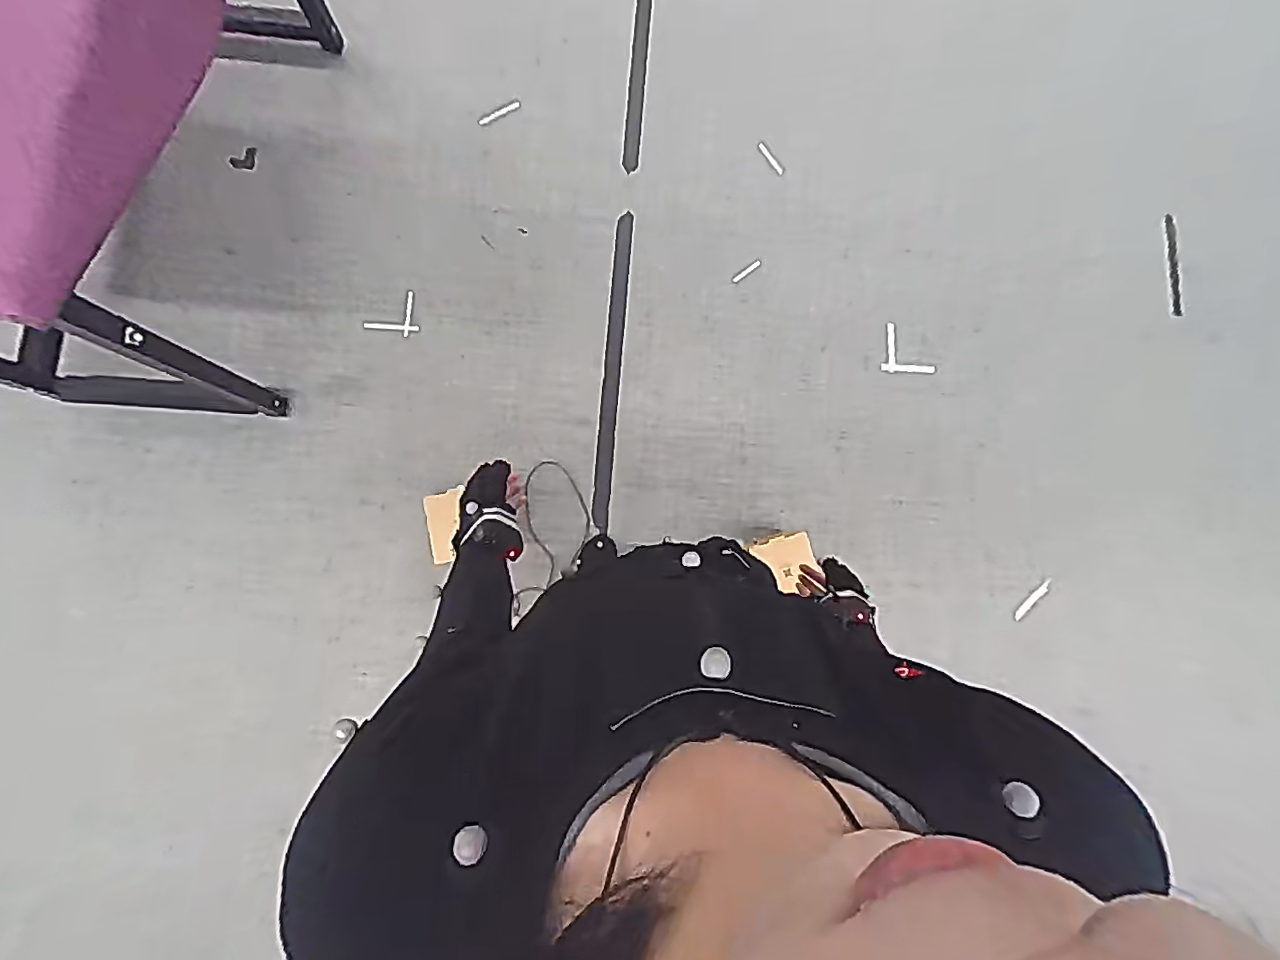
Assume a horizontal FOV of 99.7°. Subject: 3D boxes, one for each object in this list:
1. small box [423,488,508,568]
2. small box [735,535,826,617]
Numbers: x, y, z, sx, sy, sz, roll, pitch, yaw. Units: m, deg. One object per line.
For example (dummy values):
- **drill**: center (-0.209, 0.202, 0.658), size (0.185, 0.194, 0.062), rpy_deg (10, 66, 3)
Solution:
- **small box**: center (-0.450, 0.130, 1.414), size (0.168, 0.176, 0.179), rpy_deg (-12, 83, -7)
- **small box**: center (0.373, 0.257, 1.473), size (0.168, 0.176, 0.179), rpy_deg (-16, 85, -6)
